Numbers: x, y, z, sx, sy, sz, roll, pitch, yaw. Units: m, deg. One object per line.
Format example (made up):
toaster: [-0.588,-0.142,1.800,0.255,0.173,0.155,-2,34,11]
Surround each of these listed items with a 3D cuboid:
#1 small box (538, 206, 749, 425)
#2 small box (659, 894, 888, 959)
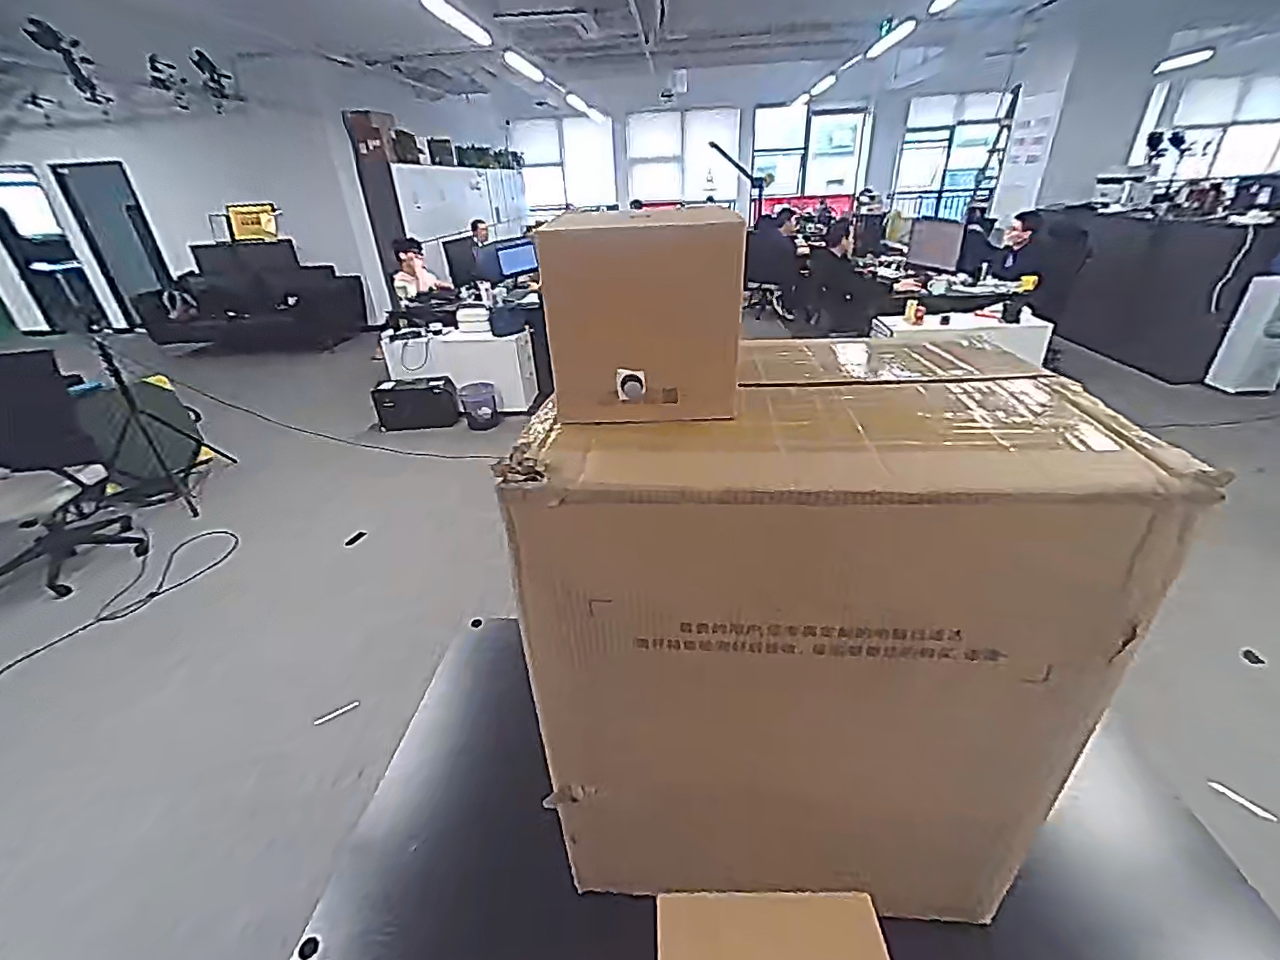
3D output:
small box: [0.005,-0.164,0.525,0.168,0.176,0.179,-3,31,1]
small box: [0.095,0.435,0.381,0.168,0.176,0.179,-1,28,2]
